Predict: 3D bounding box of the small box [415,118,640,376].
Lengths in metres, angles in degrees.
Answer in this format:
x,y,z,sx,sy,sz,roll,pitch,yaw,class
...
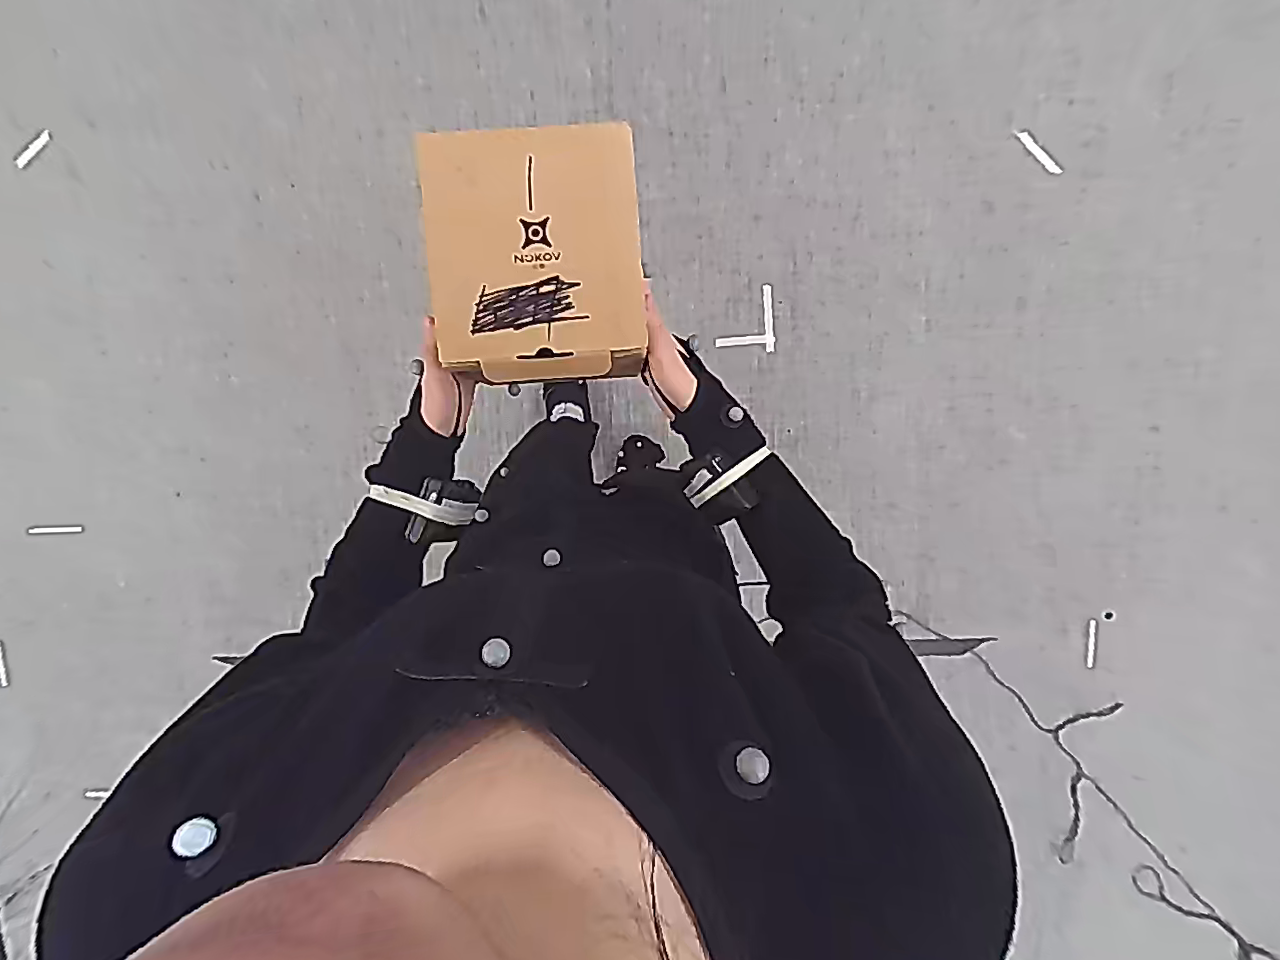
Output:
x,y,z,sx,sy,sz,roll,pitch,yaw,class
-0.086,-0.191,0.496,0.168,0.176,0.179,-4,94,-2,small box
